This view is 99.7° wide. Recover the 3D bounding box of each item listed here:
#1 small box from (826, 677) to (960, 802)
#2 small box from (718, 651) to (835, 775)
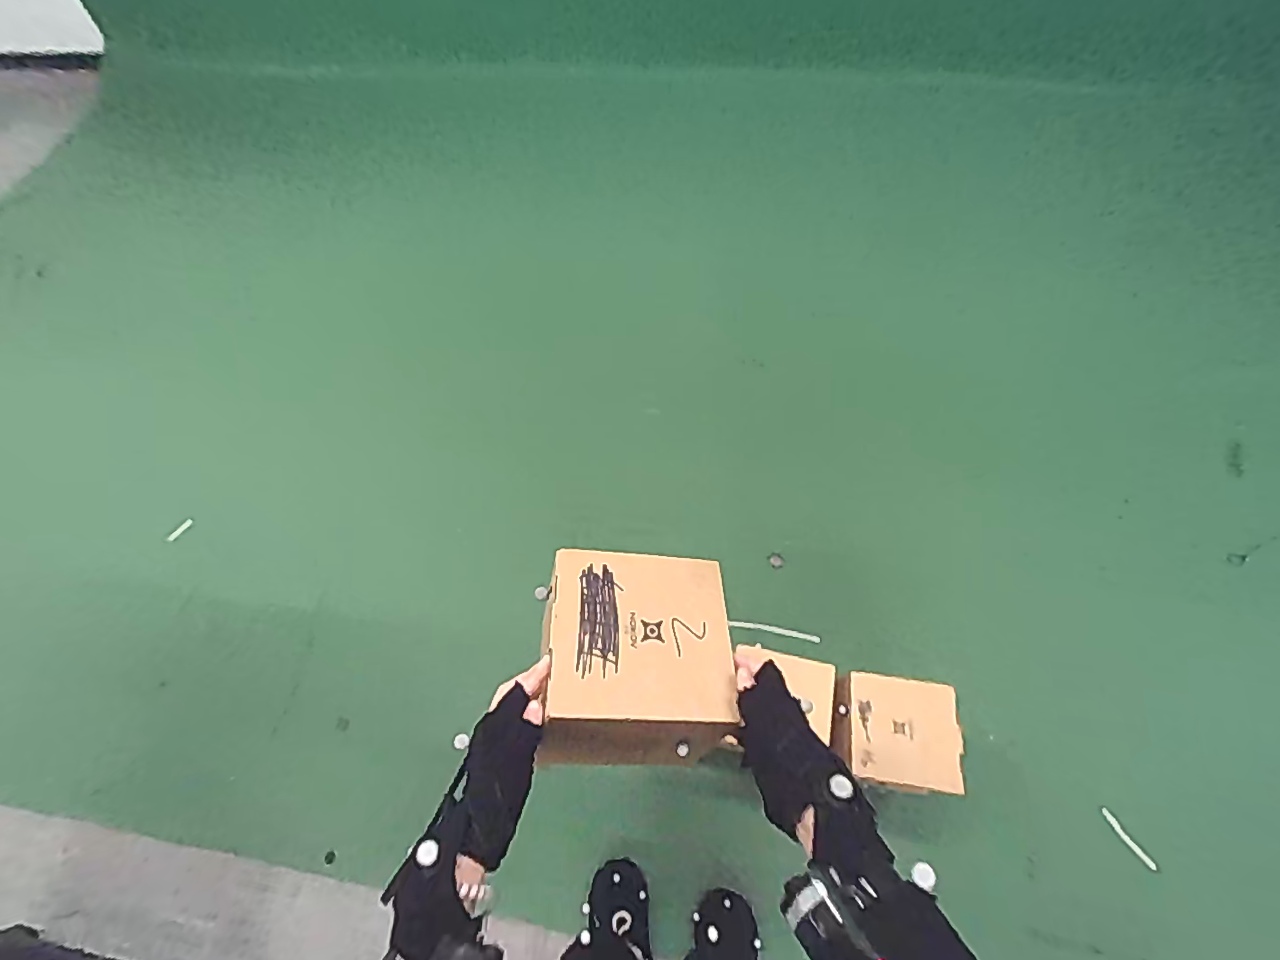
[{"bbox_3d":[0.444,0.466,0.976,0.179,0.176,0.168,7,62,8],"label":"small box"},{"bbox_3d":[0.248,0.433,1.008,0.179,0.176,0.168,11,64,11],"label":"small box"}]
